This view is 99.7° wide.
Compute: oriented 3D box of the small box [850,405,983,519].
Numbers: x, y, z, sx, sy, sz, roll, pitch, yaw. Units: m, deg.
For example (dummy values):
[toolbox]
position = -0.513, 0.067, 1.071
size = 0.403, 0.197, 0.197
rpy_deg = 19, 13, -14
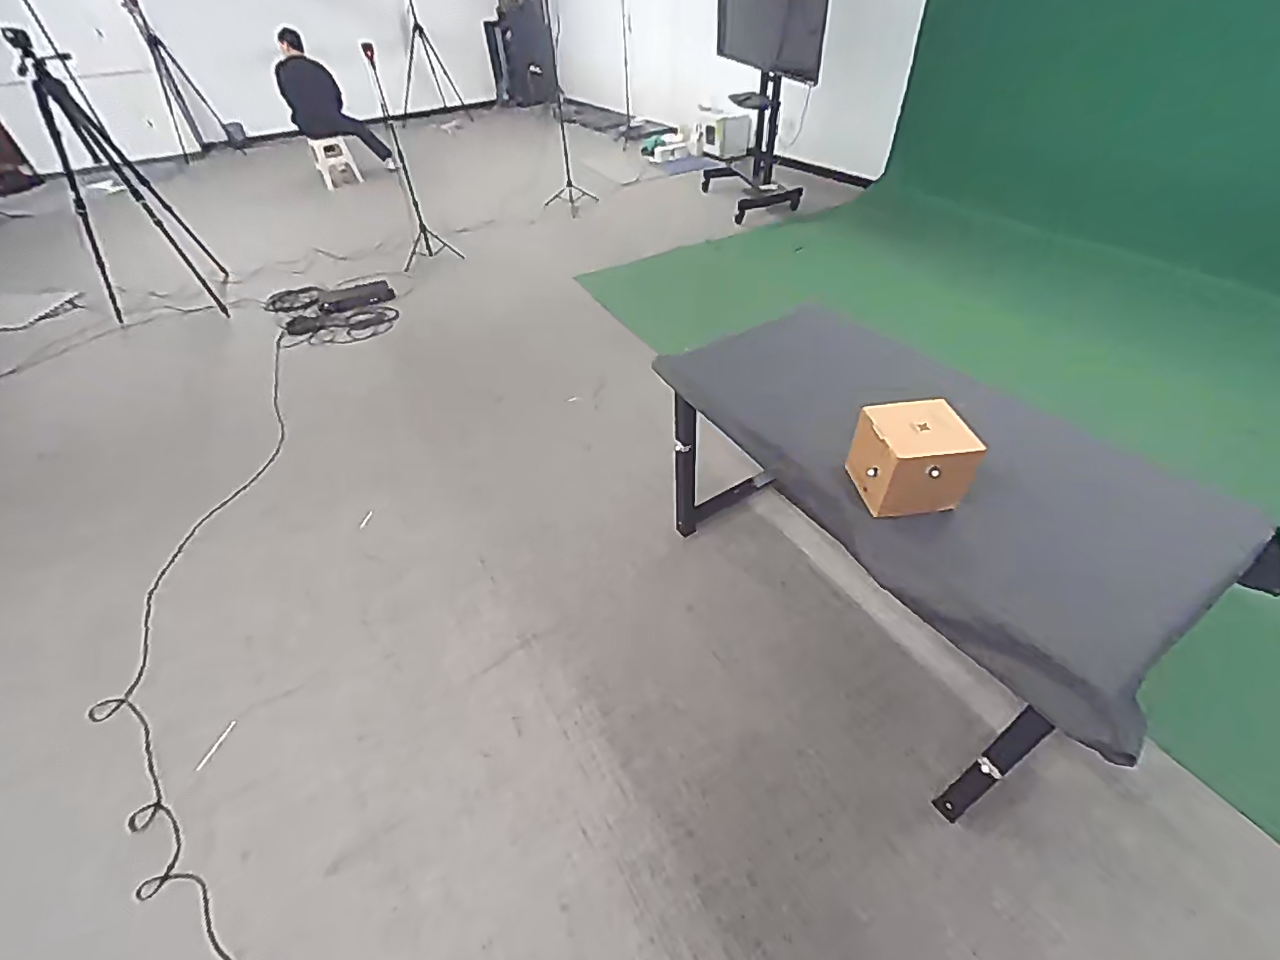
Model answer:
[small box]
position = 0.551, -0.034, 1.113
size = 0.179, 0.176, 0.168
rpy_deg = -5, 44, -3
